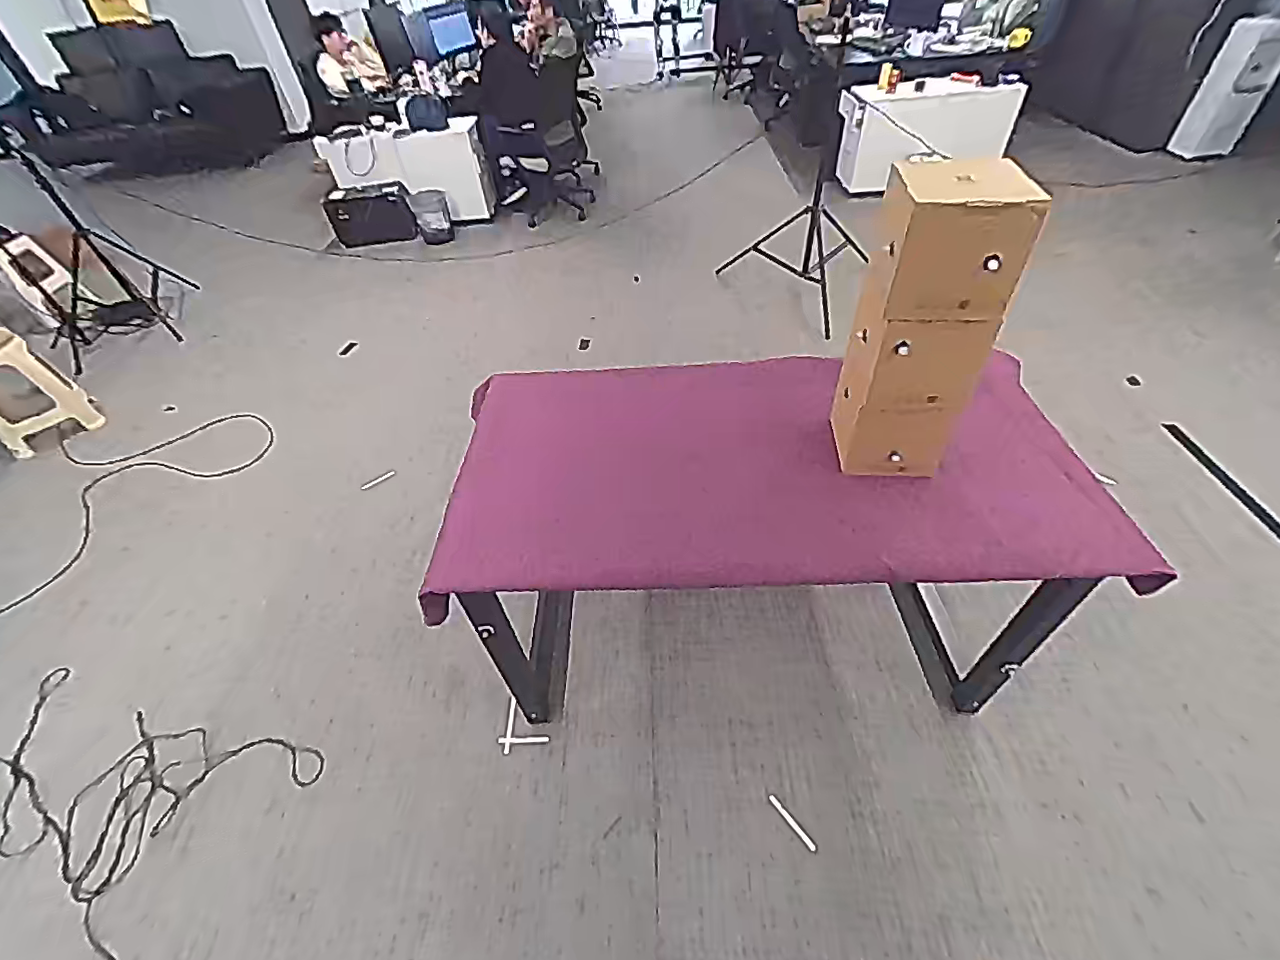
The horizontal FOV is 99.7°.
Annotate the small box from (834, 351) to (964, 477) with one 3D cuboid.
[{"bbox_3d":[0.477,-0.127,1.029,0.168,0.176,0.179,1,46,8],"label":"small box"}]

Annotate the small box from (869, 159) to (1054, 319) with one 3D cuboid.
[{"bbox_3d":[0.449,-0.349,0.791,0.168,0.176,0.179,3,45,8],"label":"small box"}]
